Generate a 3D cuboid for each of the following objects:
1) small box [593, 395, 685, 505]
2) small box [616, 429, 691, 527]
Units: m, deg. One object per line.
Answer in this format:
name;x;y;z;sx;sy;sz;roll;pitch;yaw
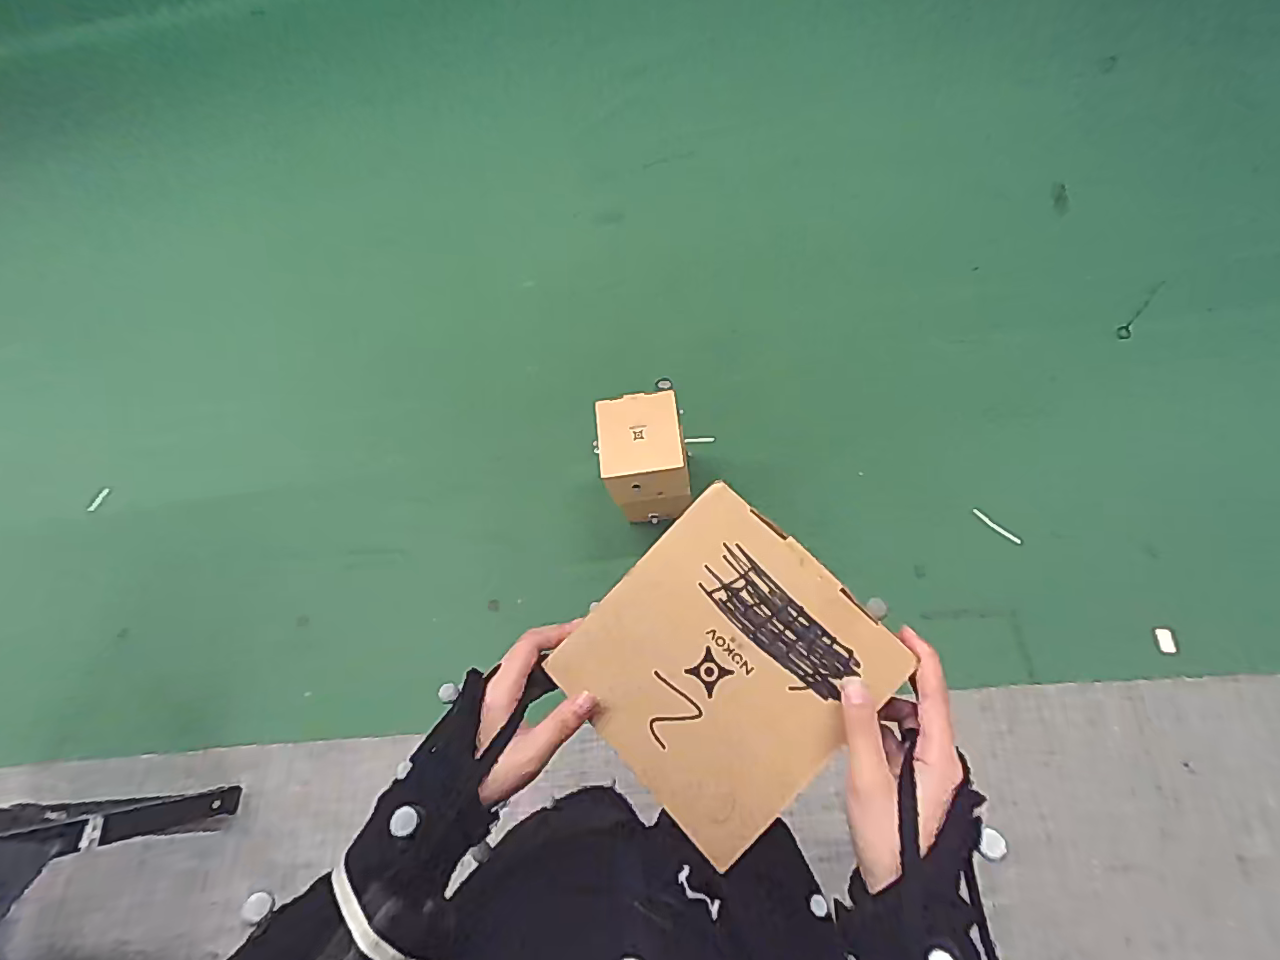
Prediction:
small box;0.002;-0.054;1.148;0.168;0.176;0.179;-8;67;5
small box;0.030;0.000;1.299;0.168;0.176;0.179;-7;69;5
